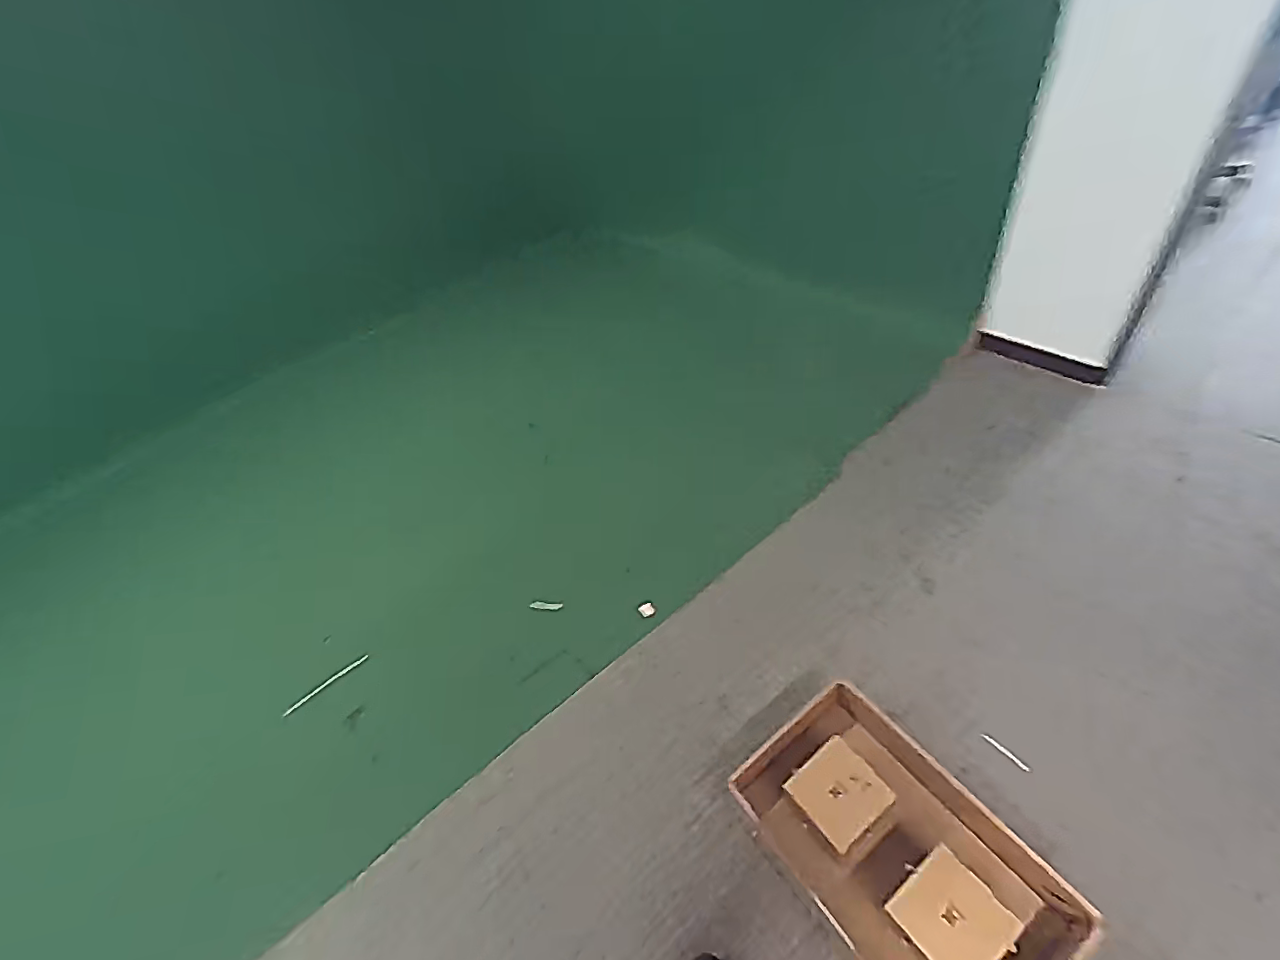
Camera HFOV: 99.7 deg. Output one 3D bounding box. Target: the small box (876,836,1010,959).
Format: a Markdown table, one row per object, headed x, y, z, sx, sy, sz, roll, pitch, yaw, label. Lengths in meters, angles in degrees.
| x | y | z | sx | sy | sz | roll | pitch | yaw | label |
| --- | --- | --- | --- | --- | --- | --- | --- | --- | --- |
| 0.603 | 0.875 | 1.100 | 0.179 | 0.176 | 0.168 | -35 | 48 | -16 | small box |

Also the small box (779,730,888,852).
| x | y | z | sx | sy | sz | roll | pitch | yaw | label |
| --- | --- | --- | --- | --- | --- | --- | --- | --- | --- |
| 0.450 | 0.732 | 1.268 | 0.179 | 0.176 | 0.168 | -34 | 50 | -15 | small box |
